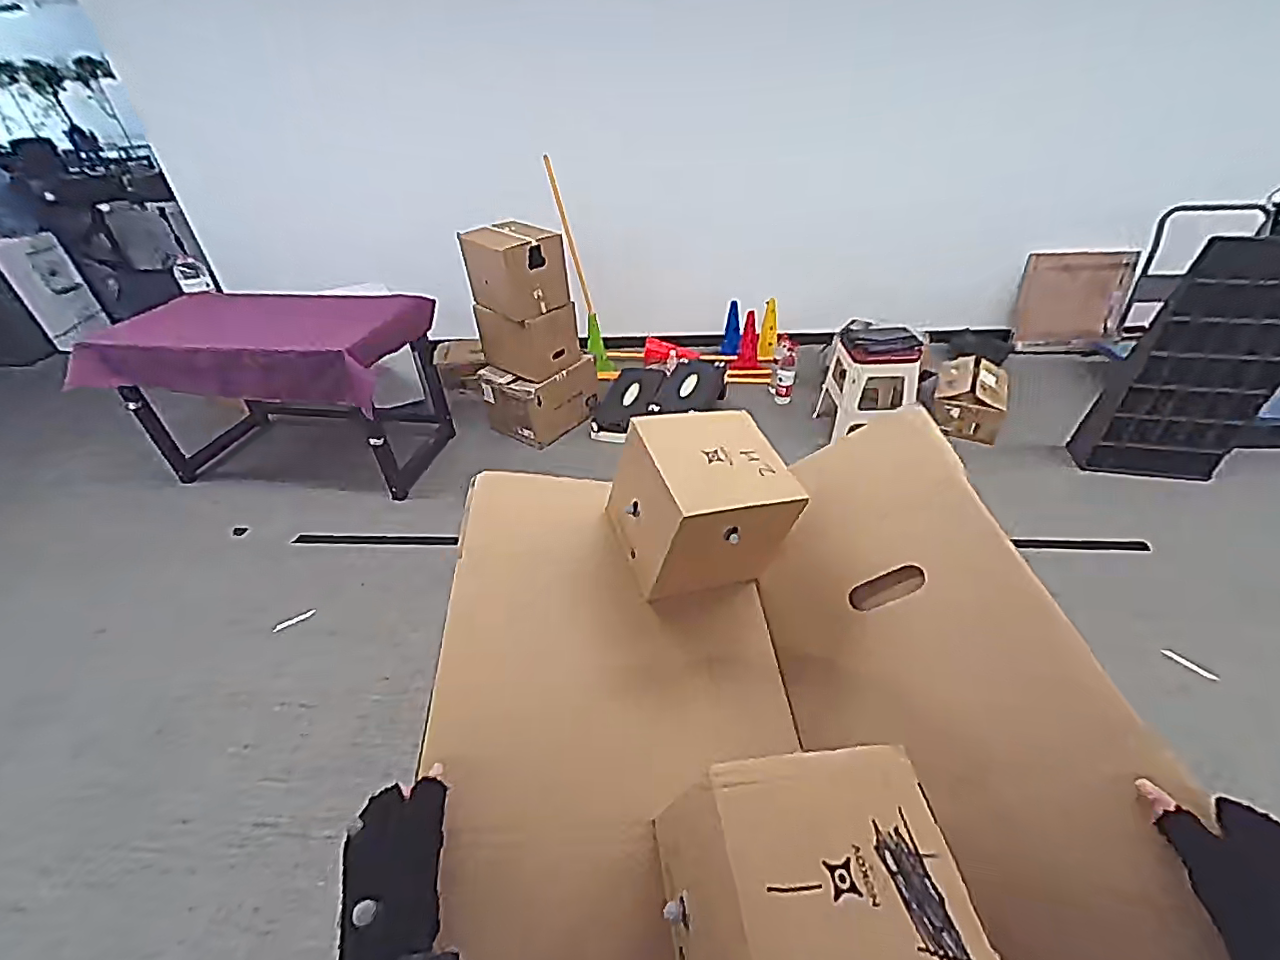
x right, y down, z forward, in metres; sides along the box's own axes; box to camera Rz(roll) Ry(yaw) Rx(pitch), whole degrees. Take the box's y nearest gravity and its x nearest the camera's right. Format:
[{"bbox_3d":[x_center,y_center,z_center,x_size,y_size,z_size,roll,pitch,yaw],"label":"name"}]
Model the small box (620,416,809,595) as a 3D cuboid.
[{"bbox_3d":[0.081,0.034,0.715,0.179,0.176,0.168,-5,48,-23],"label":"small box"}]
